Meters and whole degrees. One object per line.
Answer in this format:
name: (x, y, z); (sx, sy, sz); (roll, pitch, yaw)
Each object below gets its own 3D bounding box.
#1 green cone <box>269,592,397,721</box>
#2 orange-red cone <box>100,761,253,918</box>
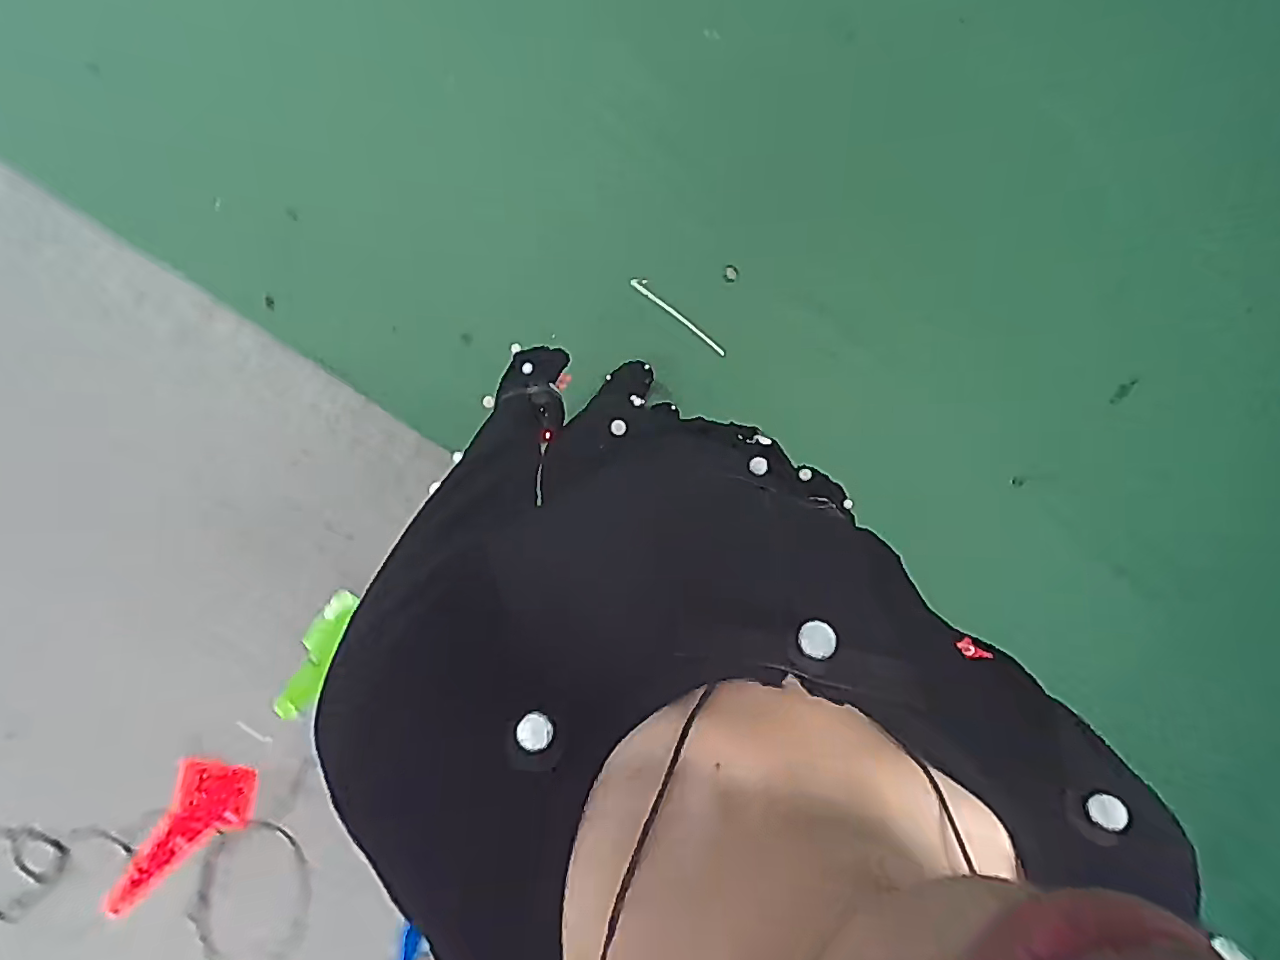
green cone: (-0.790, 0.460, 1.328); (0.200, 0.368, 0.202); (38, 95, -10)
orange-red cone: (-1.201, 0.925, 1.368); (0.198, 0.360, 0.199); (16, 96, -10)
